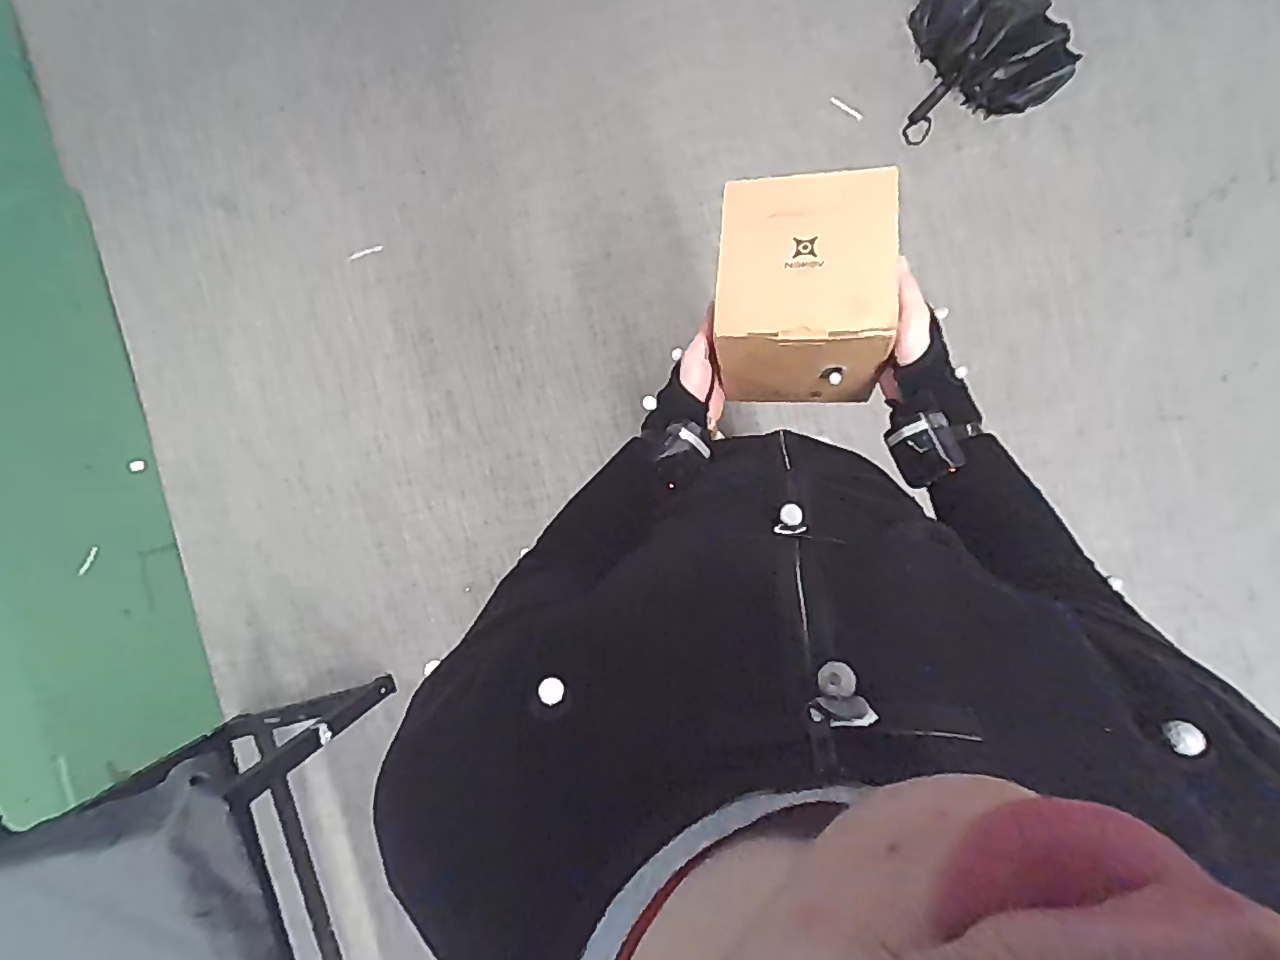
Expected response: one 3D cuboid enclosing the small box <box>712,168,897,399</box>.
[{"bbox_3d":[0.173,-0.197,0.589,0.168,0.176,0.179,3,75,13],"label":"small box"}]
